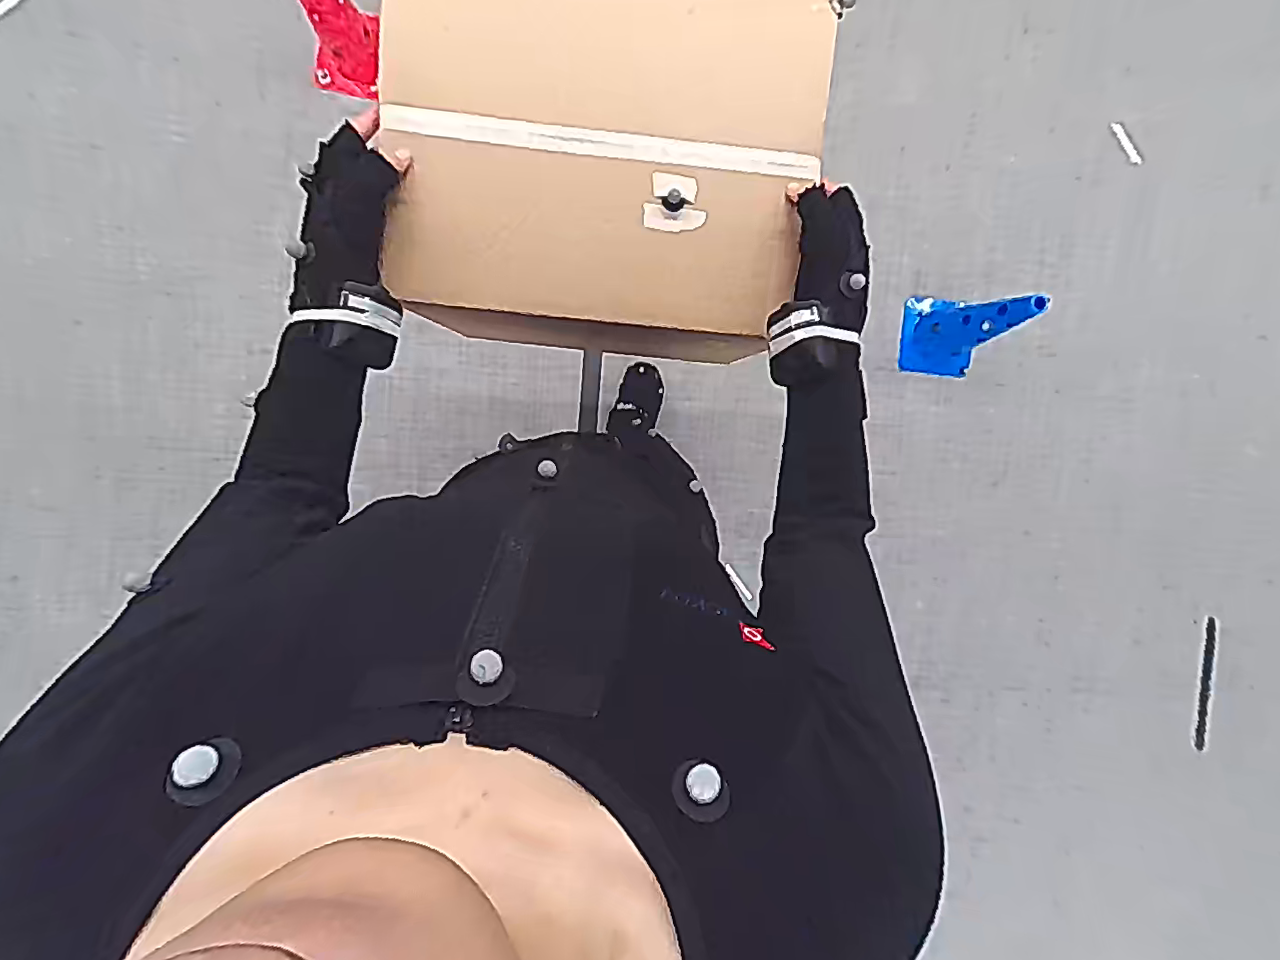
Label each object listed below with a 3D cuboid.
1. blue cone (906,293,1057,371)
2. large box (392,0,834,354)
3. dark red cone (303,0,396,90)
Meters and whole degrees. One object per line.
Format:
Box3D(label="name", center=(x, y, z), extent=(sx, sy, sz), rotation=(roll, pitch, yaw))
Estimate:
Box3D(label="blue cone", center=(0.830, -0.386, 1.308), extent=(0.192, 0.380, 0.193), rotation=(7, 94, -4))
Box3D(label="large box", center=(-0.038, -0.336, 0.652), extent=(0.408, 0.320, 0.320), rotation=(4, 98, -5))
Box3D(label="dark red cone", center=(-0.690, -1.062, 1.162), extent=(0.201, 0.394, 0.202), rotation=(9, 93, -4))
